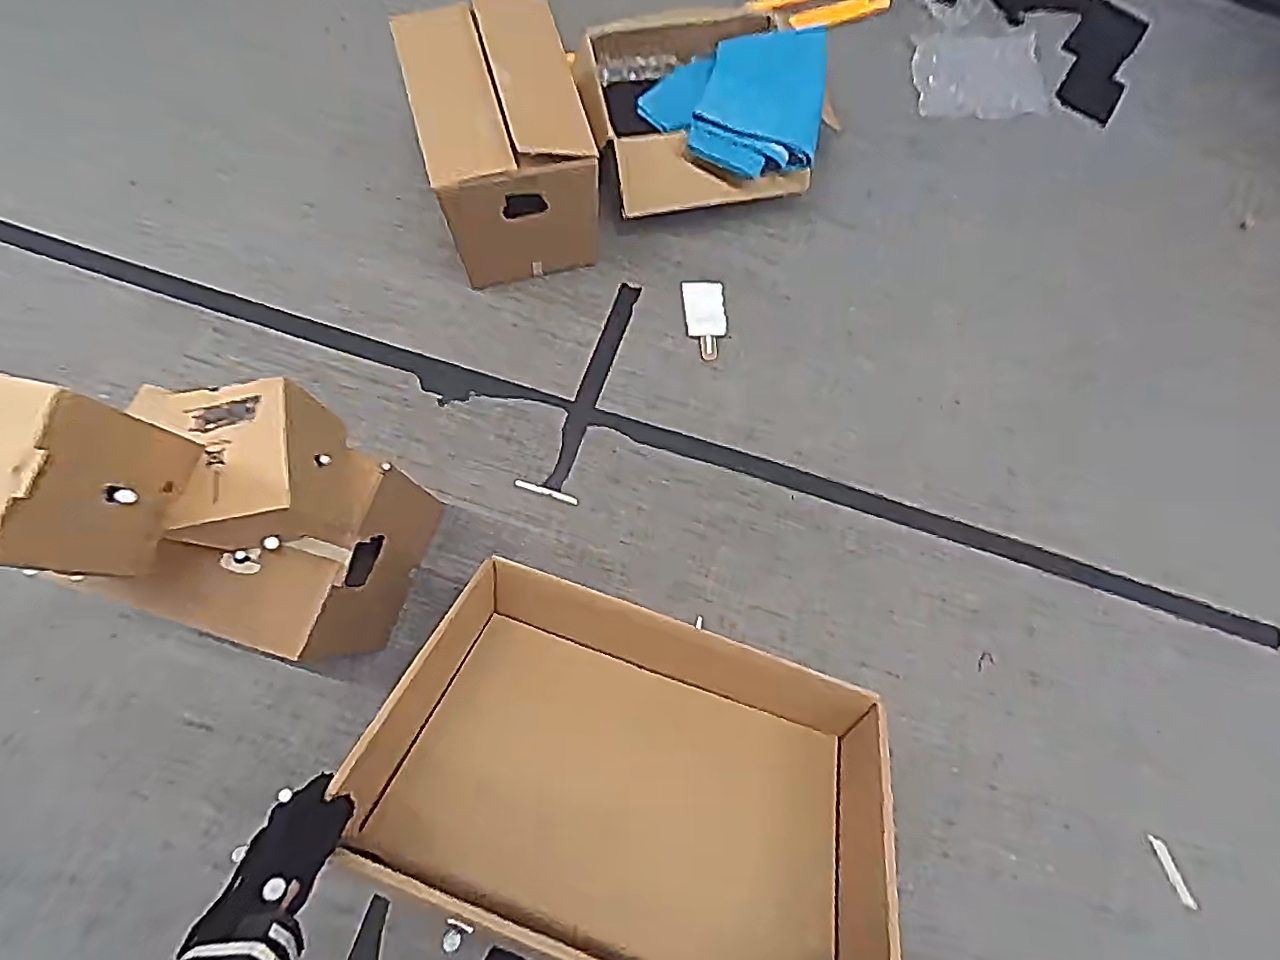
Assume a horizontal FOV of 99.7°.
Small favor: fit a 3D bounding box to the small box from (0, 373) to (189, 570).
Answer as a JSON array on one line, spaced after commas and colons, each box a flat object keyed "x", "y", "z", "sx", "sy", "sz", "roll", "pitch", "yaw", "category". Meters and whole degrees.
[{"x": -0.622, "y": -0.007, "z": 0.547, "sx": 0.179, "sy": 0.176, "sz": 0.168, "roll": 12, "pitch": 76, "yaw": 0, "category": "small box"}]

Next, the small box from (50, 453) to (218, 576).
[{"x": -0.710, "y": 0.018, "z": 0.705, "sx": 0.168, "sy": 0.176, "sz": 0.179, "roll": 17, "pitch": 74, "yaw": -1, "category": "small box"}]

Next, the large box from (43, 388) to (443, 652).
[{"x": -0.626, "y": 0.085, "z": 0.943, "sx": 0.408, "sy": 0.320, "sz": 0.320, "roll": 17, "pitch": 76, "yaw": 0, "category": "large box"}]
